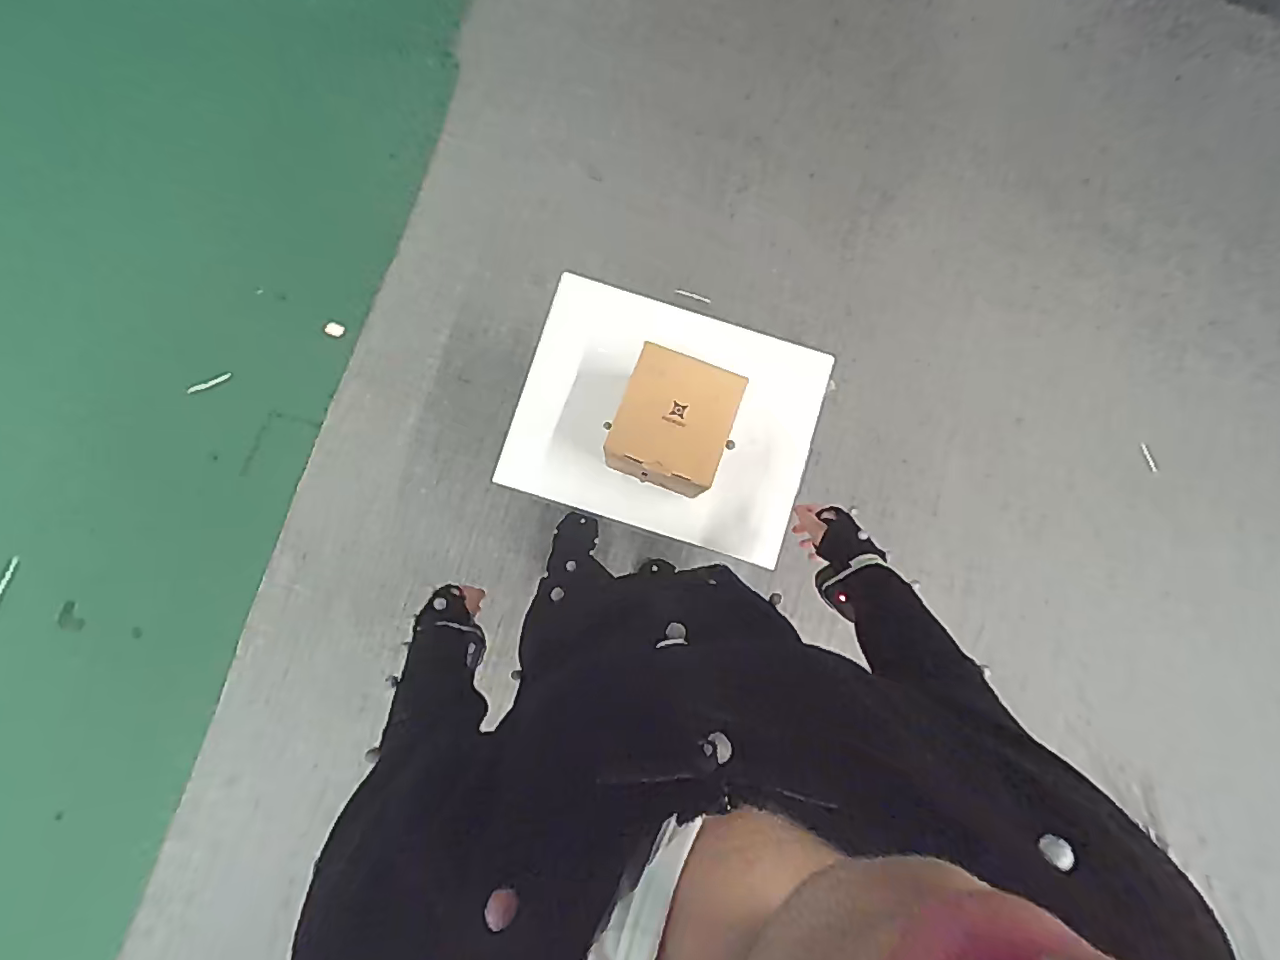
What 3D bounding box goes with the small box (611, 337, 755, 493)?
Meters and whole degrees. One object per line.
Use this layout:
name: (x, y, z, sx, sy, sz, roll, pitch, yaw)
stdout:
small box: (0.060, -0.091, 0.850, 0.168, 0.176, 0.179, 20, 84, 1)
